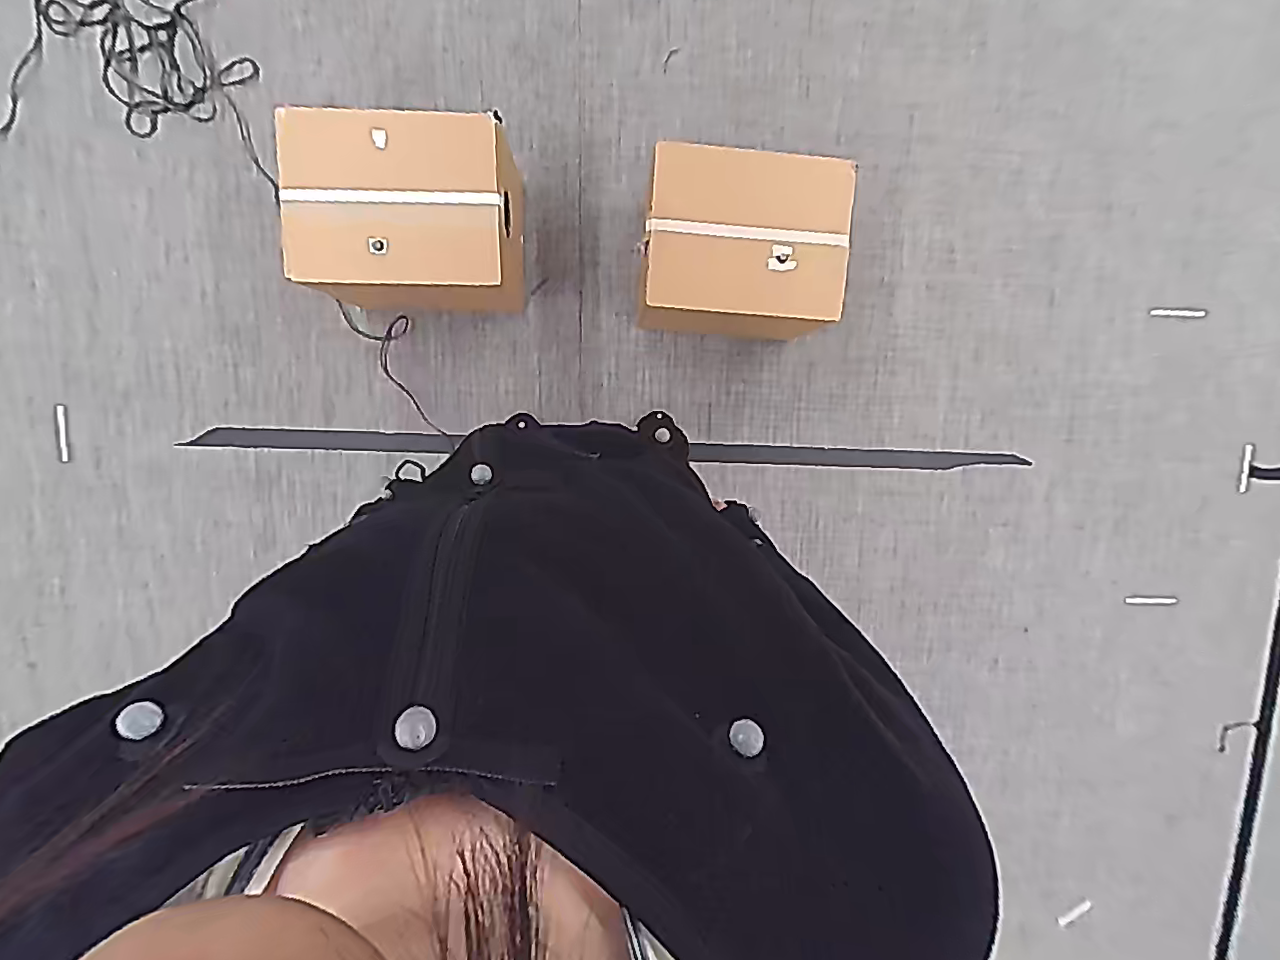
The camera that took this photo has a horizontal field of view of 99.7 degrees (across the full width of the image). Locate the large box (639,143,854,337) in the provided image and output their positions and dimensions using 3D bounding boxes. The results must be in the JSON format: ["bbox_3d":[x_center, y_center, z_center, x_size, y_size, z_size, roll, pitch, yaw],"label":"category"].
[{"bbox_3d":[0.212,-0.514,1.231,0.408,0.320,0.320,4,97,-5],"label":"large box"}]
